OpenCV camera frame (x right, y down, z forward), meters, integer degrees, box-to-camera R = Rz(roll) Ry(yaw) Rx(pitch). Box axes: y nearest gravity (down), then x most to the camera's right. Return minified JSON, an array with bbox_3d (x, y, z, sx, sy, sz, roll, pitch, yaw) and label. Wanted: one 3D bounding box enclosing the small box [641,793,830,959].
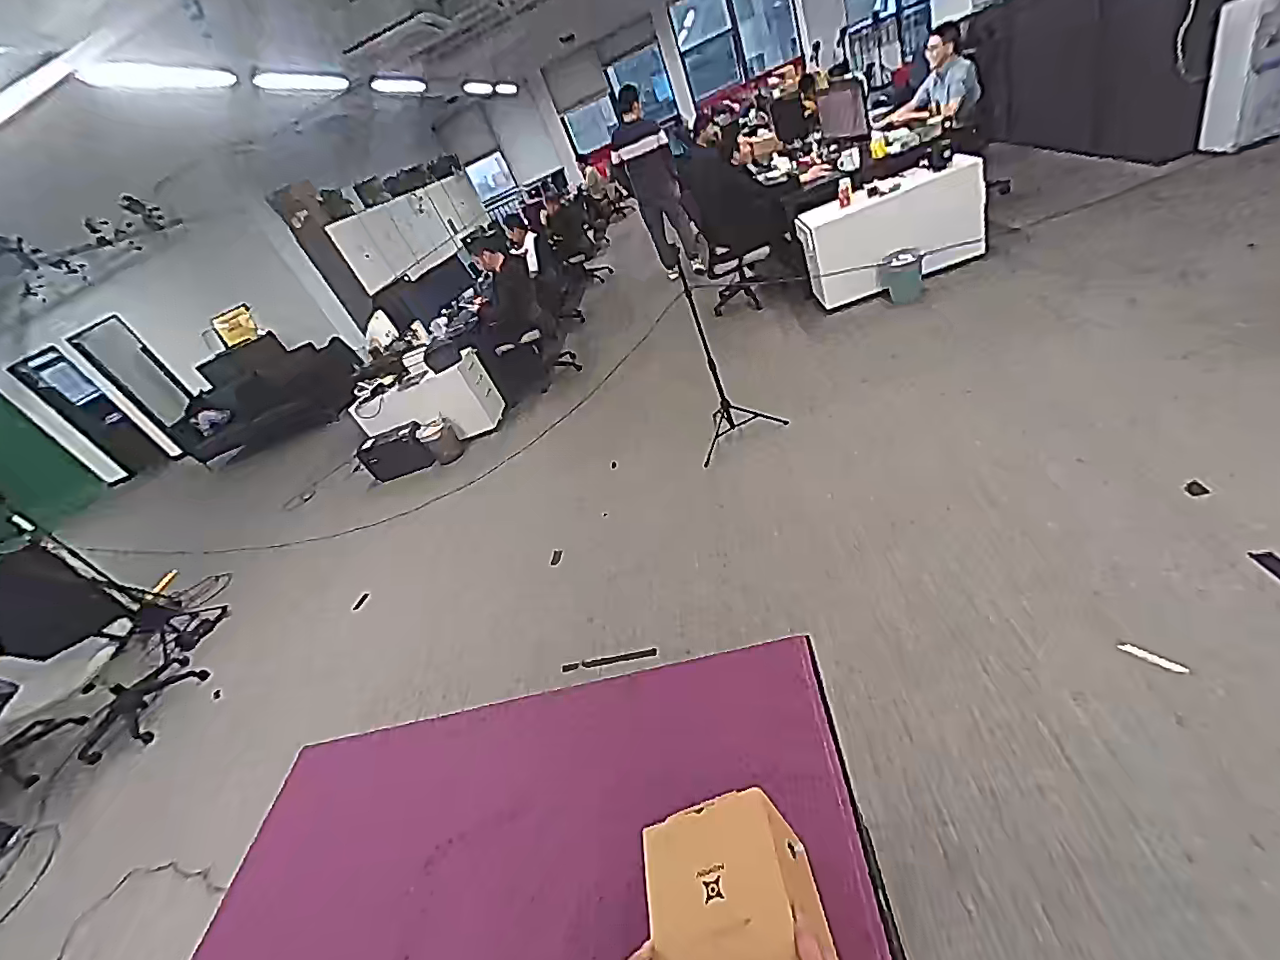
[{"bbox_3d":[0.113,0.521,0.642,0.168,0.176,0.179,-27,27,11],"label":"small box"}]
